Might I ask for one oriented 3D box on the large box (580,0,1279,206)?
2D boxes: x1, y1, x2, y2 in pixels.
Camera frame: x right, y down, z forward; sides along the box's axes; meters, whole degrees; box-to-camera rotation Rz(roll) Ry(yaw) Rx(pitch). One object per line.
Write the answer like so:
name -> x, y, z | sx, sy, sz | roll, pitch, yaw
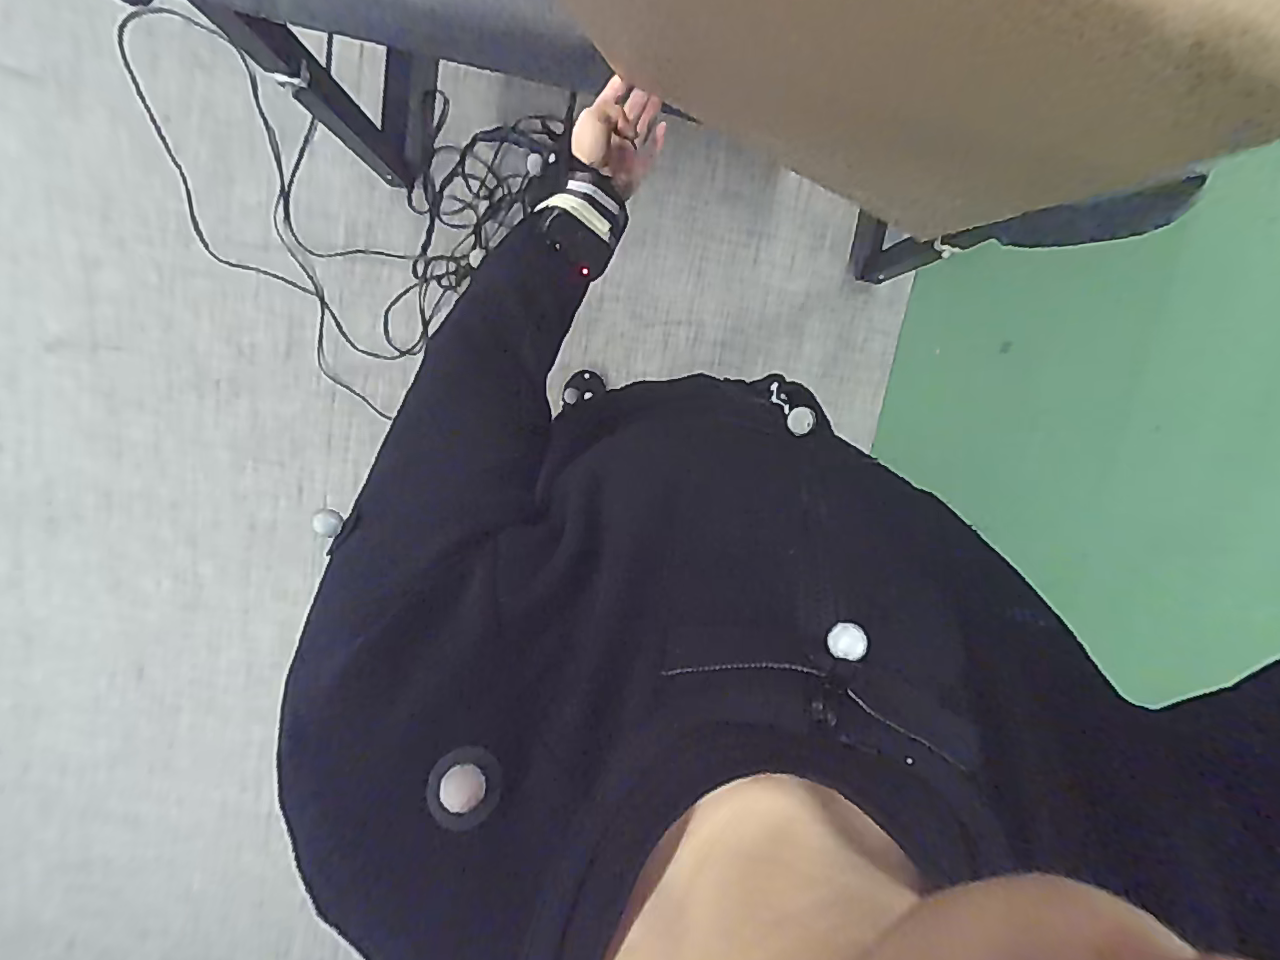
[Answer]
large box -> 0.134, -0.360, 0.243 | 0.320, 0.408, 0.320 | 28, 115, 0
